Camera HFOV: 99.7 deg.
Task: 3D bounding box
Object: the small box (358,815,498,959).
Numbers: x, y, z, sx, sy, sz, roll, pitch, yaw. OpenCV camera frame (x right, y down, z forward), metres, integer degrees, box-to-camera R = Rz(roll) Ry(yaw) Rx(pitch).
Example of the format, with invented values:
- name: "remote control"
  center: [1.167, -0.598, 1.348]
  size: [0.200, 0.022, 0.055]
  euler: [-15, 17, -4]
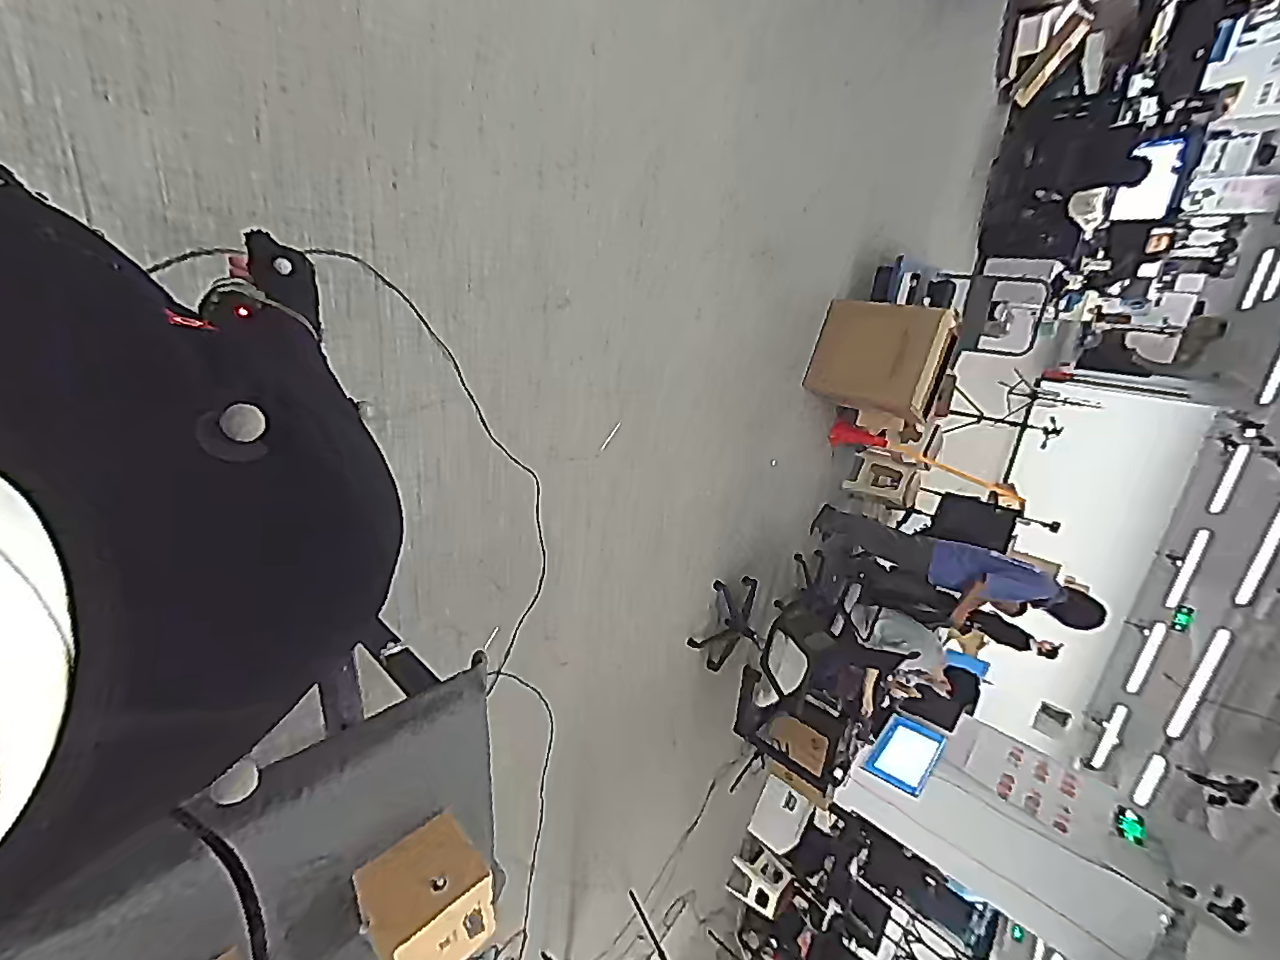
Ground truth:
- name: "small box"
  center: [-0.378, 0.759, 0.973]
  size: [0.179, 0.176, 0.168]
  euler: [-19, 120, -43]
